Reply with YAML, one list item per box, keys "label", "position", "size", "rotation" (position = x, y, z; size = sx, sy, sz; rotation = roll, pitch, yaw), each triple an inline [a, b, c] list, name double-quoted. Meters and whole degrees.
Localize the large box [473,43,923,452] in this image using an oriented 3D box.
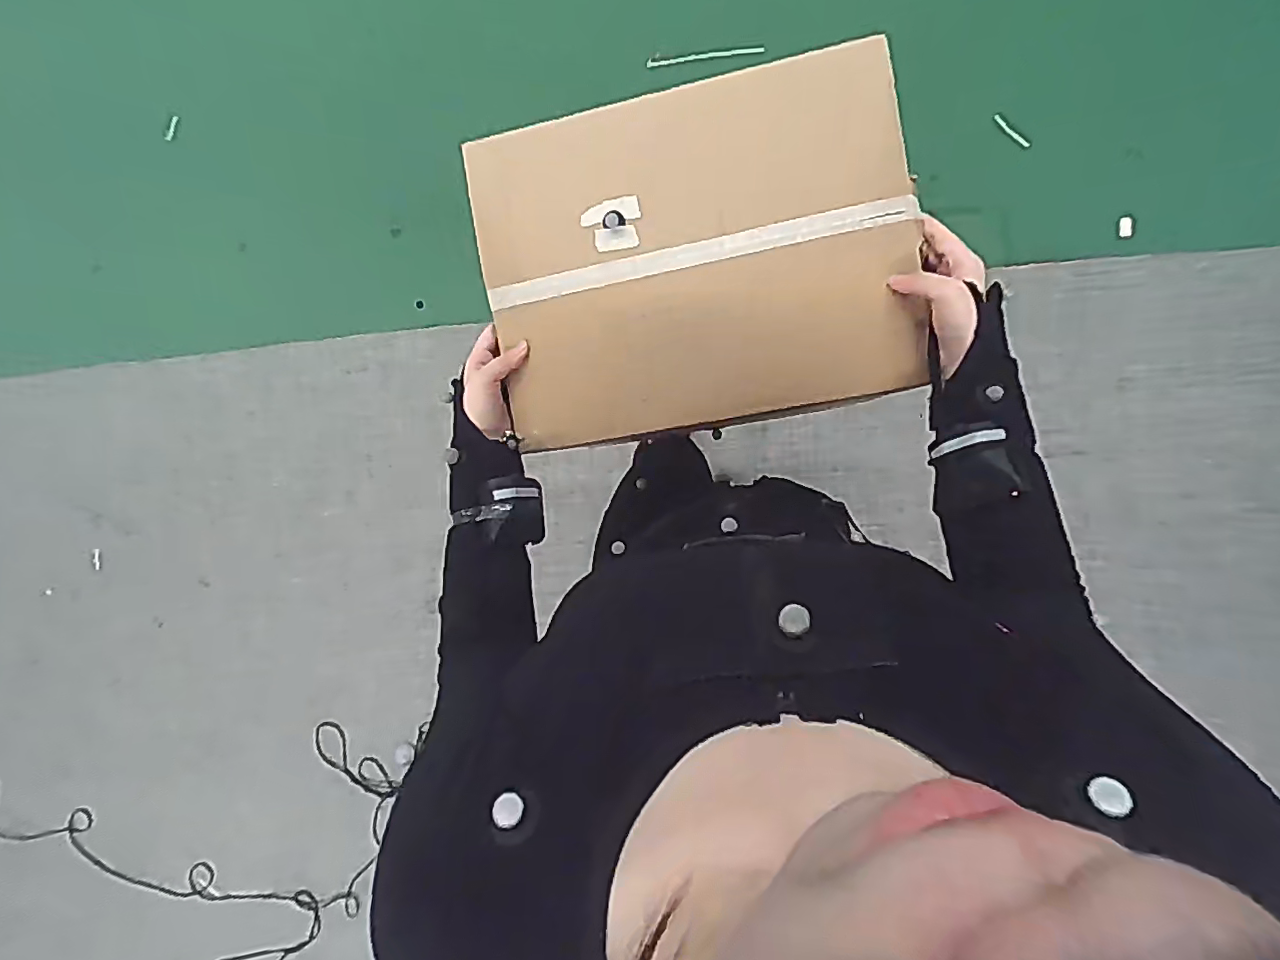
- label: "large box"
  position: [0.071, -0.226, 0.676]
  size: [0.408, 0.320, 0.320]
  rotation: [-10, 92, 10]
